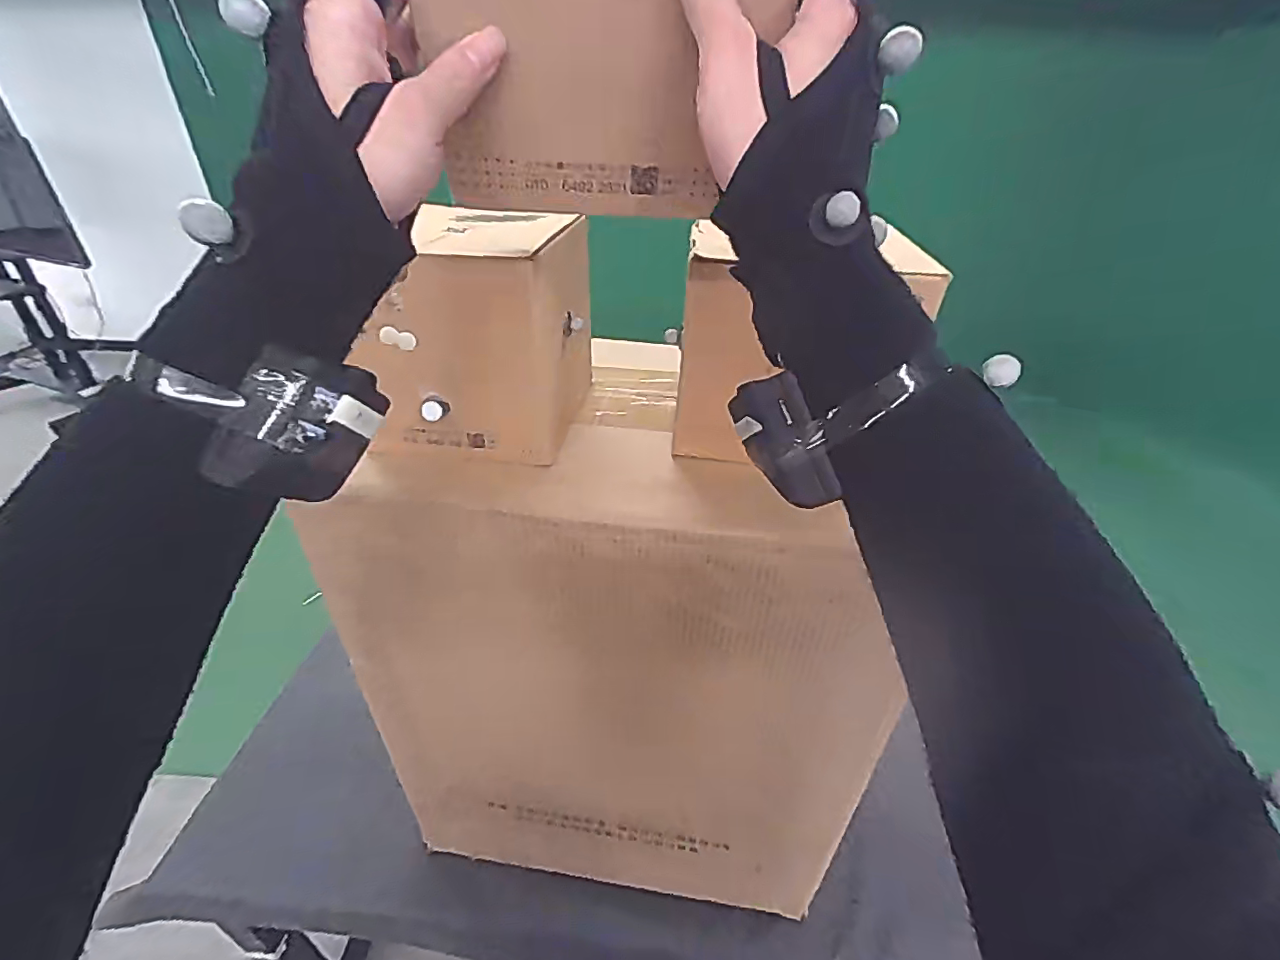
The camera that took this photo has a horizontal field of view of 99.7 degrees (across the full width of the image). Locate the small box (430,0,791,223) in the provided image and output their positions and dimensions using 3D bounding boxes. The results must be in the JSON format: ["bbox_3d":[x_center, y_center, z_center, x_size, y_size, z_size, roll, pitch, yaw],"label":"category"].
[{"bbox_3d":[-0.017,-0.269,0.295,0.168,0.176,0.179,1,54,-4],"label":"small box"}]

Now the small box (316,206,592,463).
[{"bbox_3d":[-0.140,-0.136,0.484,0.168,0.176,0.179,5,36,6],"label":"small box"}]

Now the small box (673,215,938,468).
[{"bbox_3d":[0.125,-0.127,0.484,0.179,0.176,0.168,7,37,4],"label":"small box"}]
